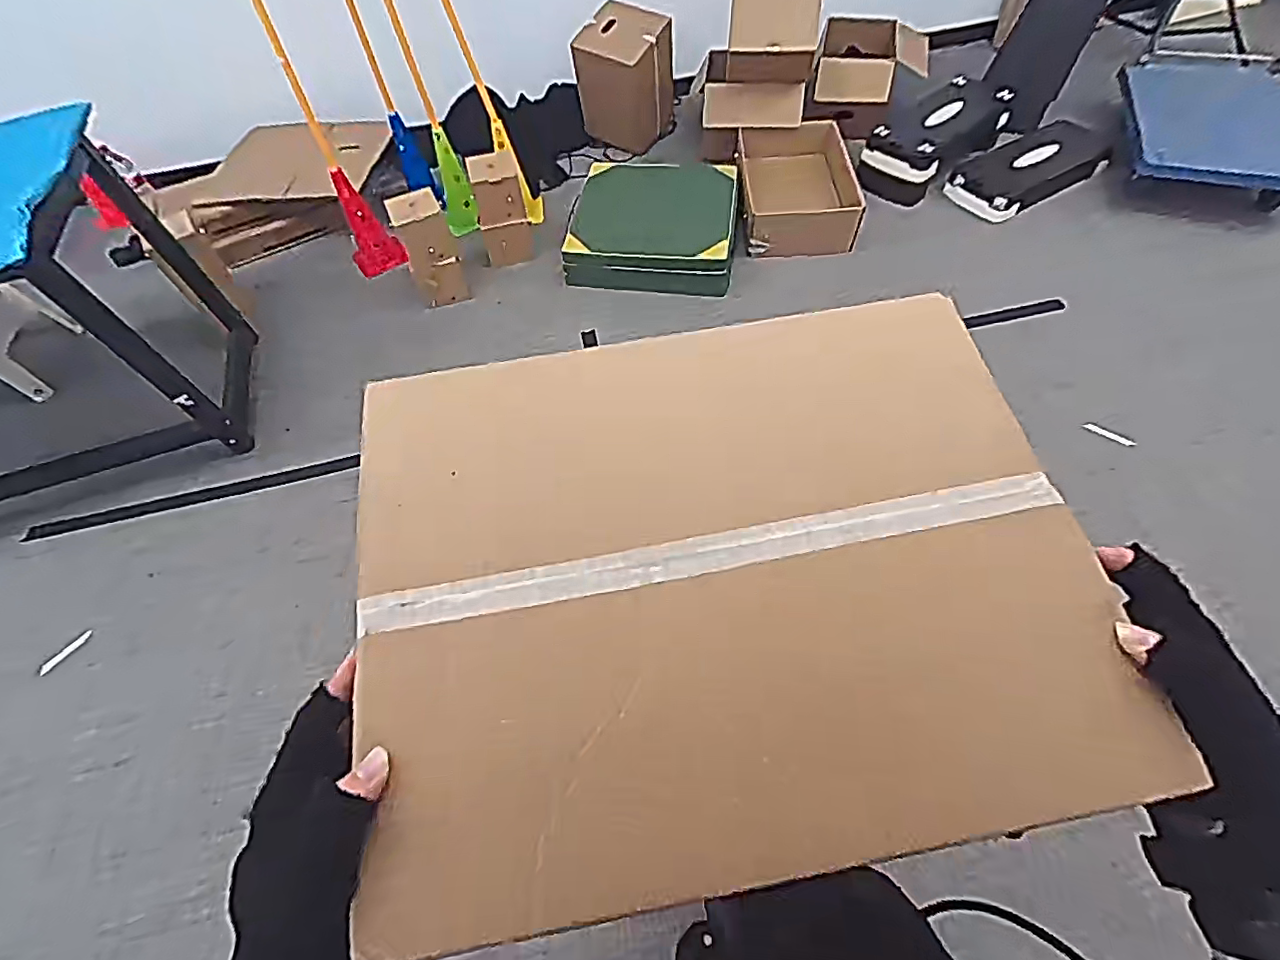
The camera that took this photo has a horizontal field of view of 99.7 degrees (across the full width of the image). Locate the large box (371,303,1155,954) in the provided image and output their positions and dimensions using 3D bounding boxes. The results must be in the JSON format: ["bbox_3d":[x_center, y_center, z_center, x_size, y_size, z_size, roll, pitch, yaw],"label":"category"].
[{"bbox_3d":[0.047,0.104,0.457,0.408,0.320,0.320,-11,66,-3],"label":"large box"}]
